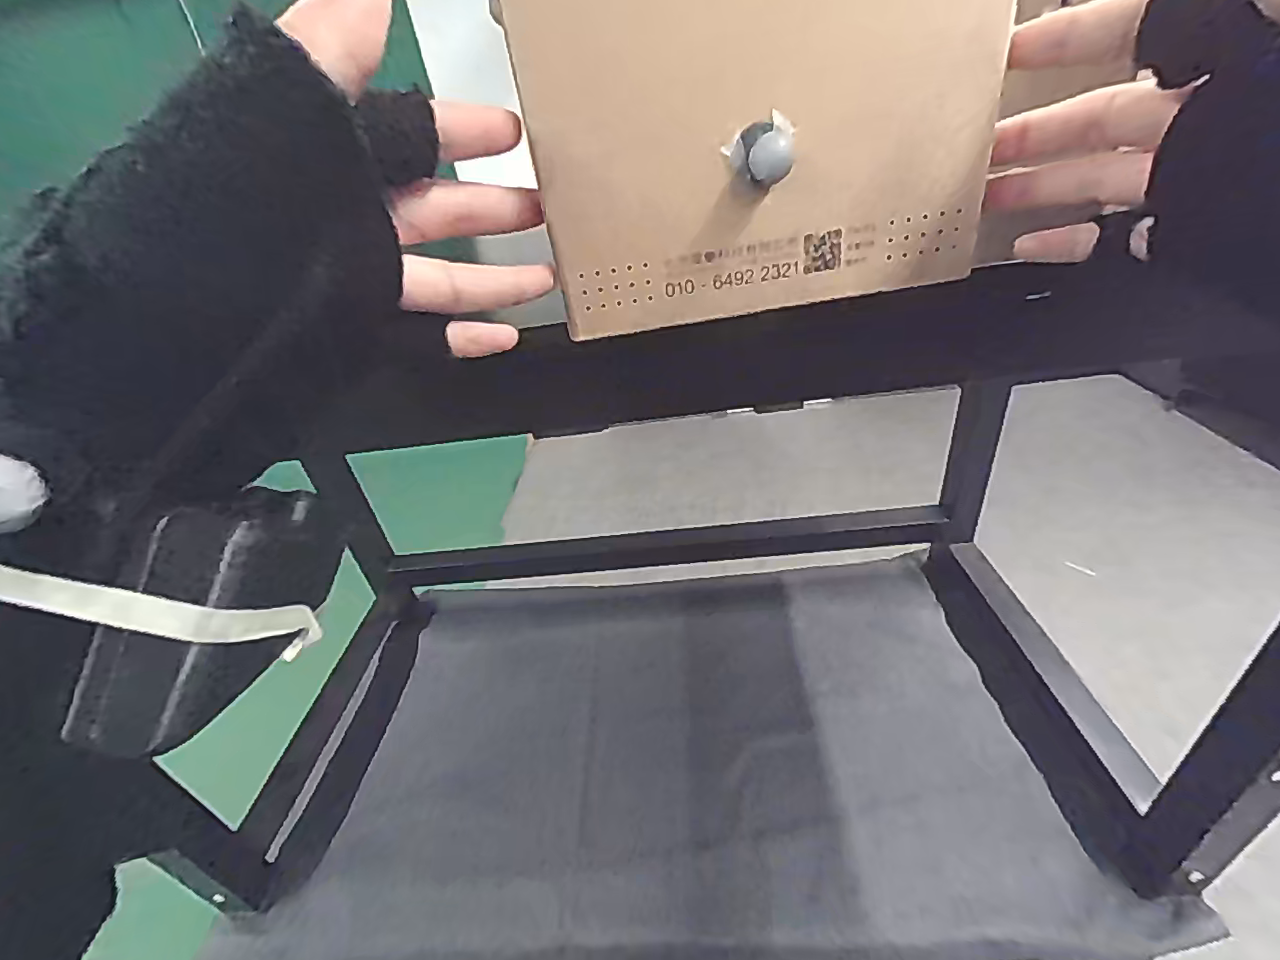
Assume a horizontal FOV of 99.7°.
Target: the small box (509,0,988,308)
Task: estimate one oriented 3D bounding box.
[{"bbox_3d":[0.035,-0.192,0.257,0.168,0.176,0.179,-10,32,2],"label":"small box"}]
